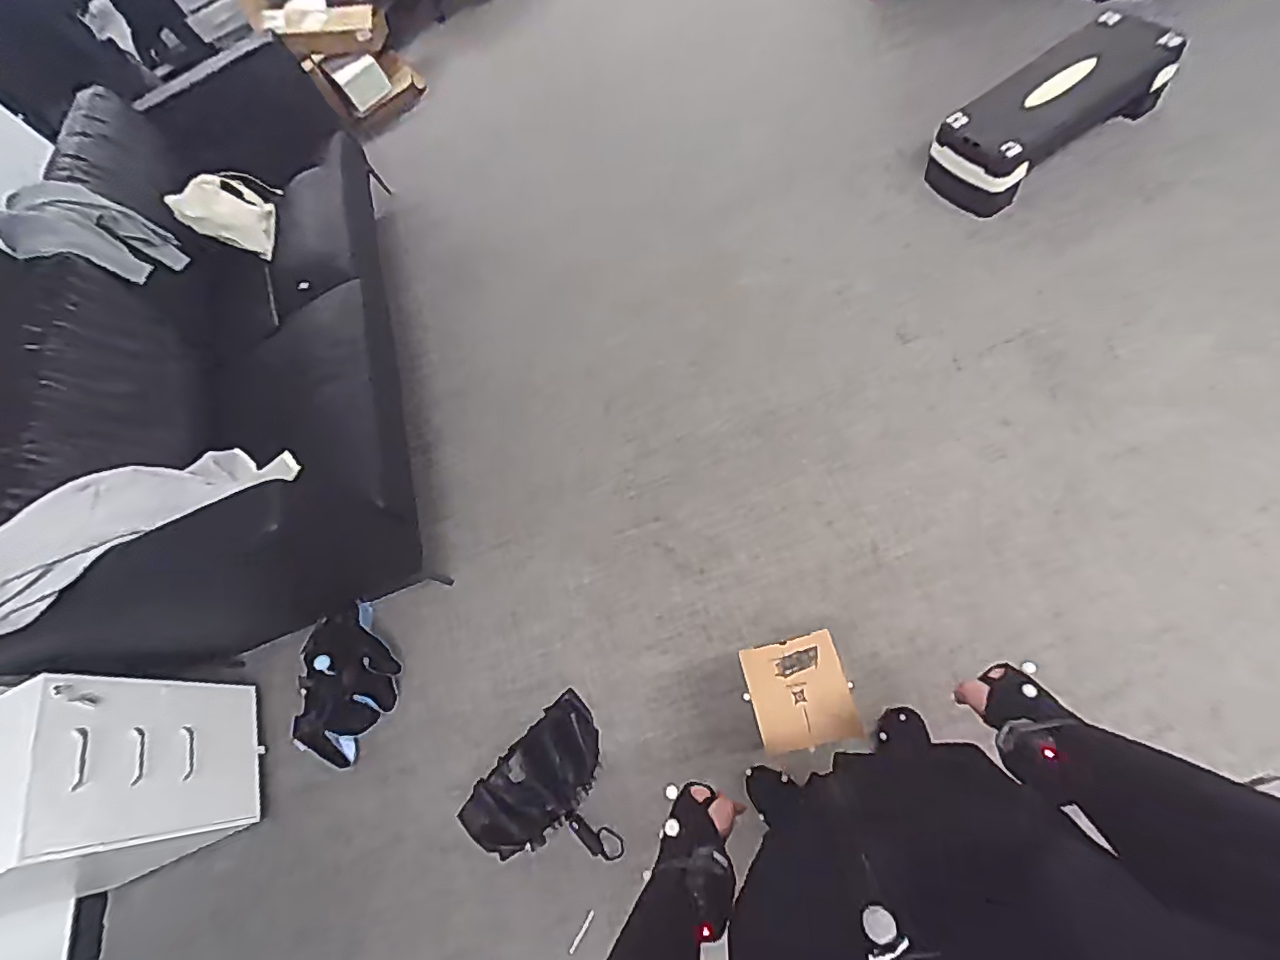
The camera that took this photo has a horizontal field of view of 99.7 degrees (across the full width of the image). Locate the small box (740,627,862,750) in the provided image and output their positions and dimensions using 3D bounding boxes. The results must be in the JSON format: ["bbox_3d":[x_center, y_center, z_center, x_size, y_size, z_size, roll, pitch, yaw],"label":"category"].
[{"bbox_3d":[0.291,0.388,1.003,0.168,0.176,0.179,-17,64,8],"label":"small box"}]
